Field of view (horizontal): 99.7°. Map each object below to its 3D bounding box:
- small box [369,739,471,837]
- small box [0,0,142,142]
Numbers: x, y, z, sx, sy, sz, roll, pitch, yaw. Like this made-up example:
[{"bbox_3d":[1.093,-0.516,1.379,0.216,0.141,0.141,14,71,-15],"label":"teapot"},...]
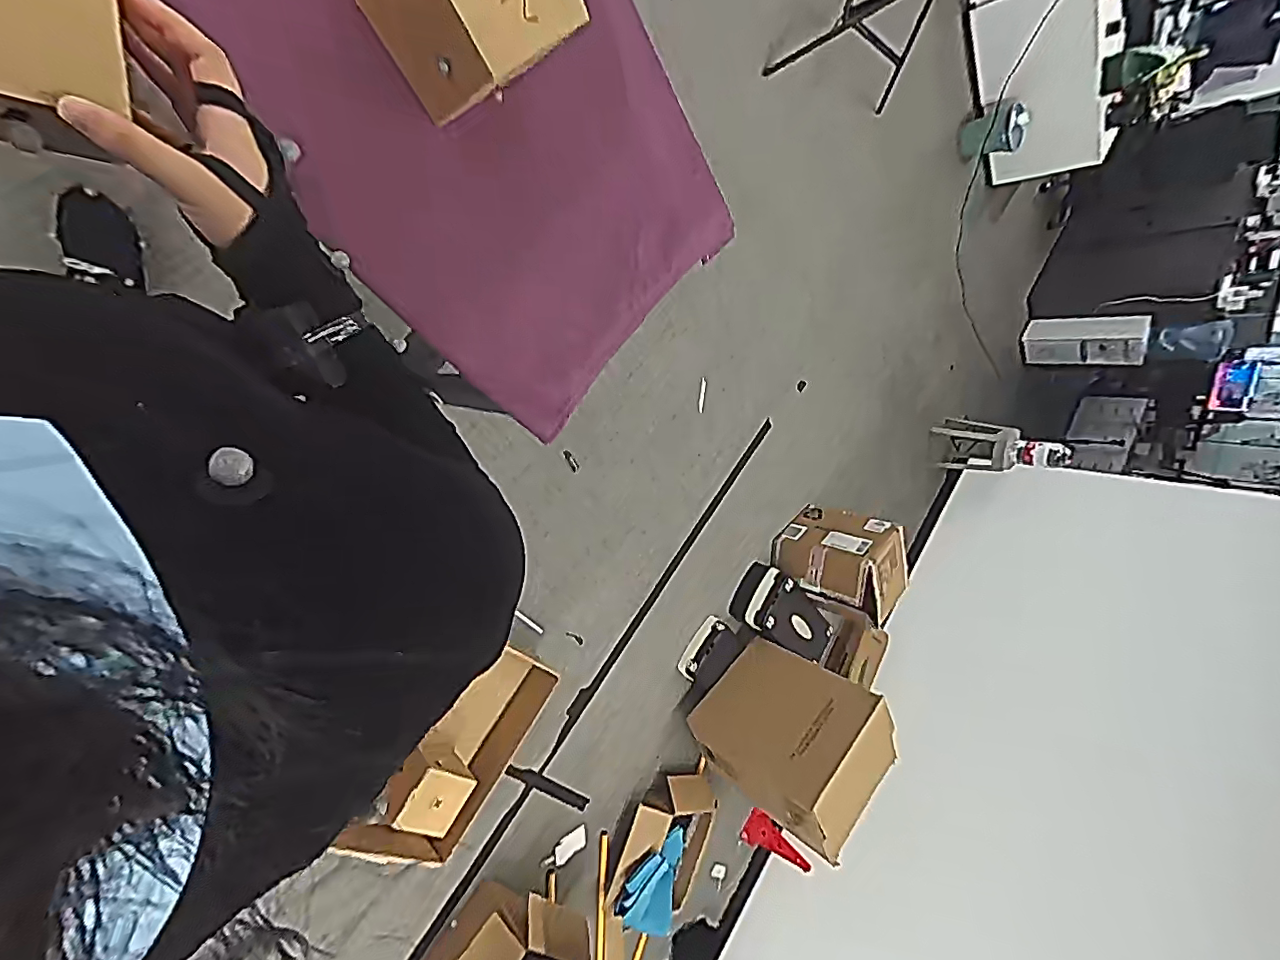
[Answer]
[{"bbox_3d":[-0.620,0.863,1.522,0.179,0.176,0.168,46,69,-38],"label":"small box"},{"bbox_3d":[-0.384,-0.292,0.273,0.179,0.176,0.168,-8,111,-43],"label":"small box"}]
